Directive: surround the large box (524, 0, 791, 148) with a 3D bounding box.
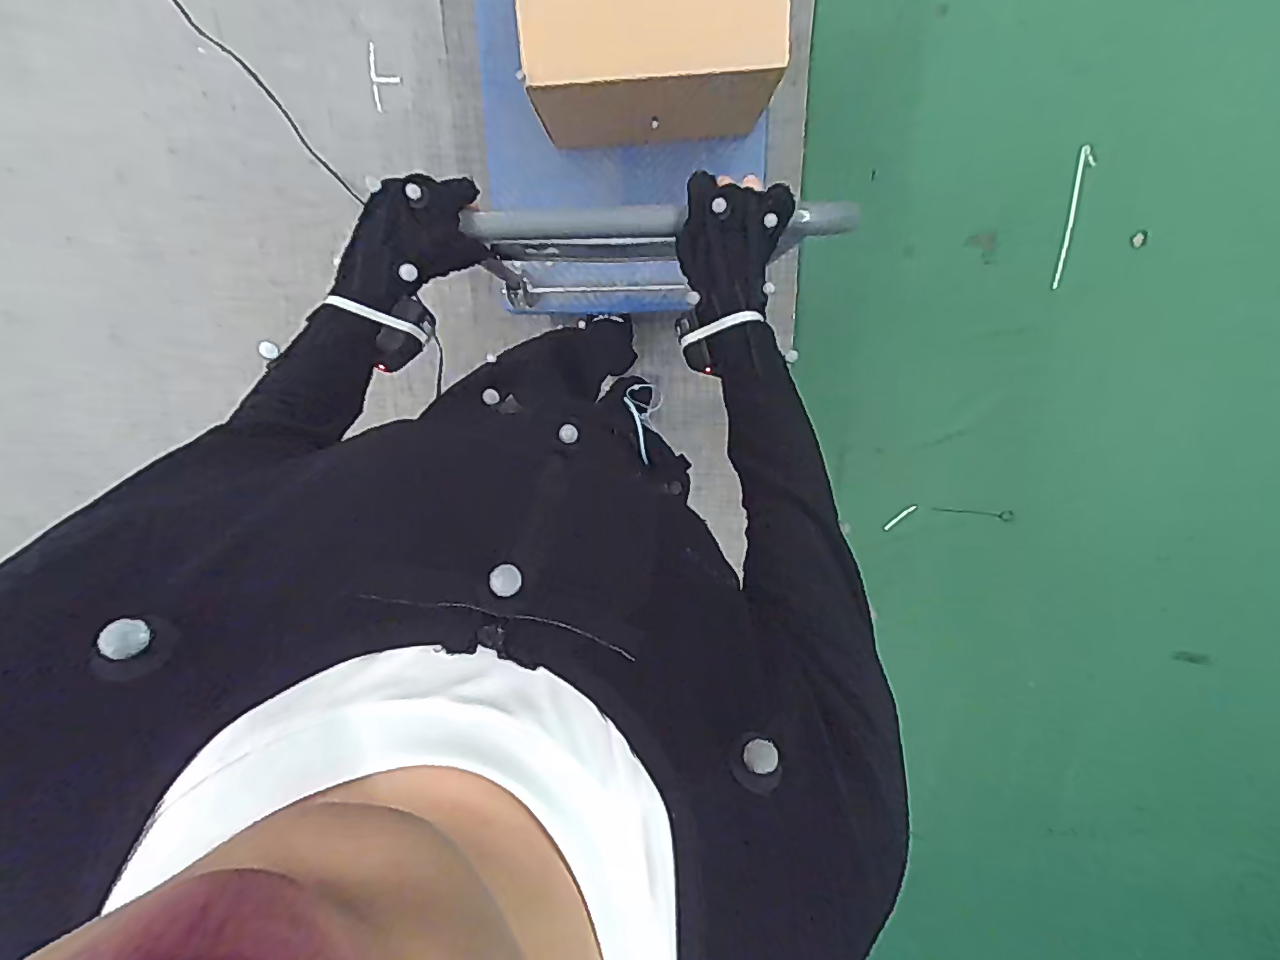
[{"bbox_3d":[0.026,-0.807,0.936,0.408,0.320,0.320,-4,106,3],"label":"large box"}]
